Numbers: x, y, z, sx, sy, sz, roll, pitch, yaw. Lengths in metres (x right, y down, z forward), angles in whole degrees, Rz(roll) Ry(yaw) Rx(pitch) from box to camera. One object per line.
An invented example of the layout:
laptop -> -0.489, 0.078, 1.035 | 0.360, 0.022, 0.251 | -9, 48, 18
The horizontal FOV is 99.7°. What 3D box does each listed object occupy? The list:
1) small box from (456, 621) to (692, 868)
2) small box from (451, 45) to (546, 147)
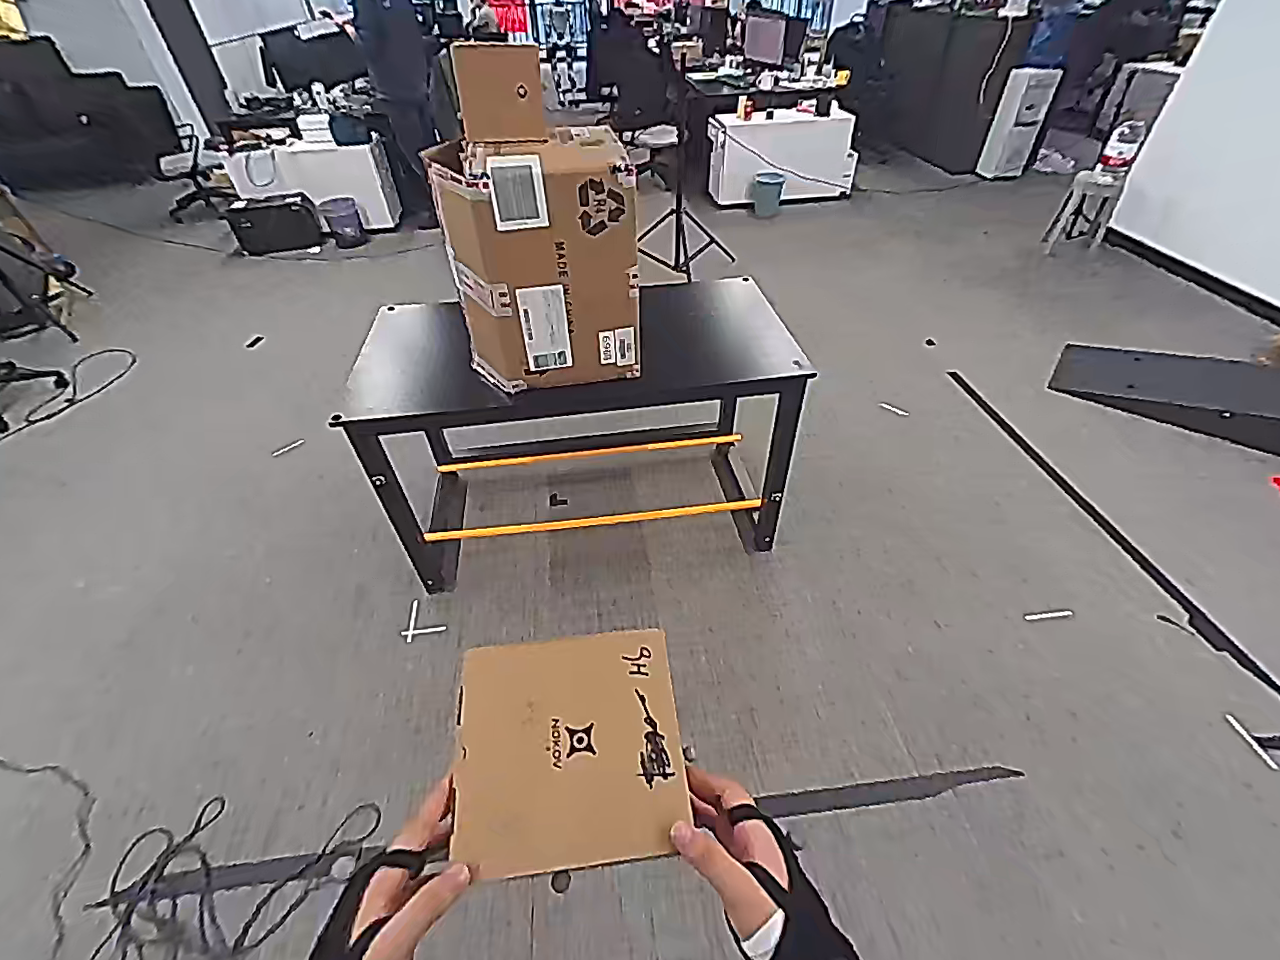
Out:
small box -> -0.056, 0.249, 0.501 | 0.179, 0.176, 0.168 | -6, 54, -5
small box -> -0.303, -0.847, 1.191 | 0.179, 0.176, 0.168 | -8, 40, -8
